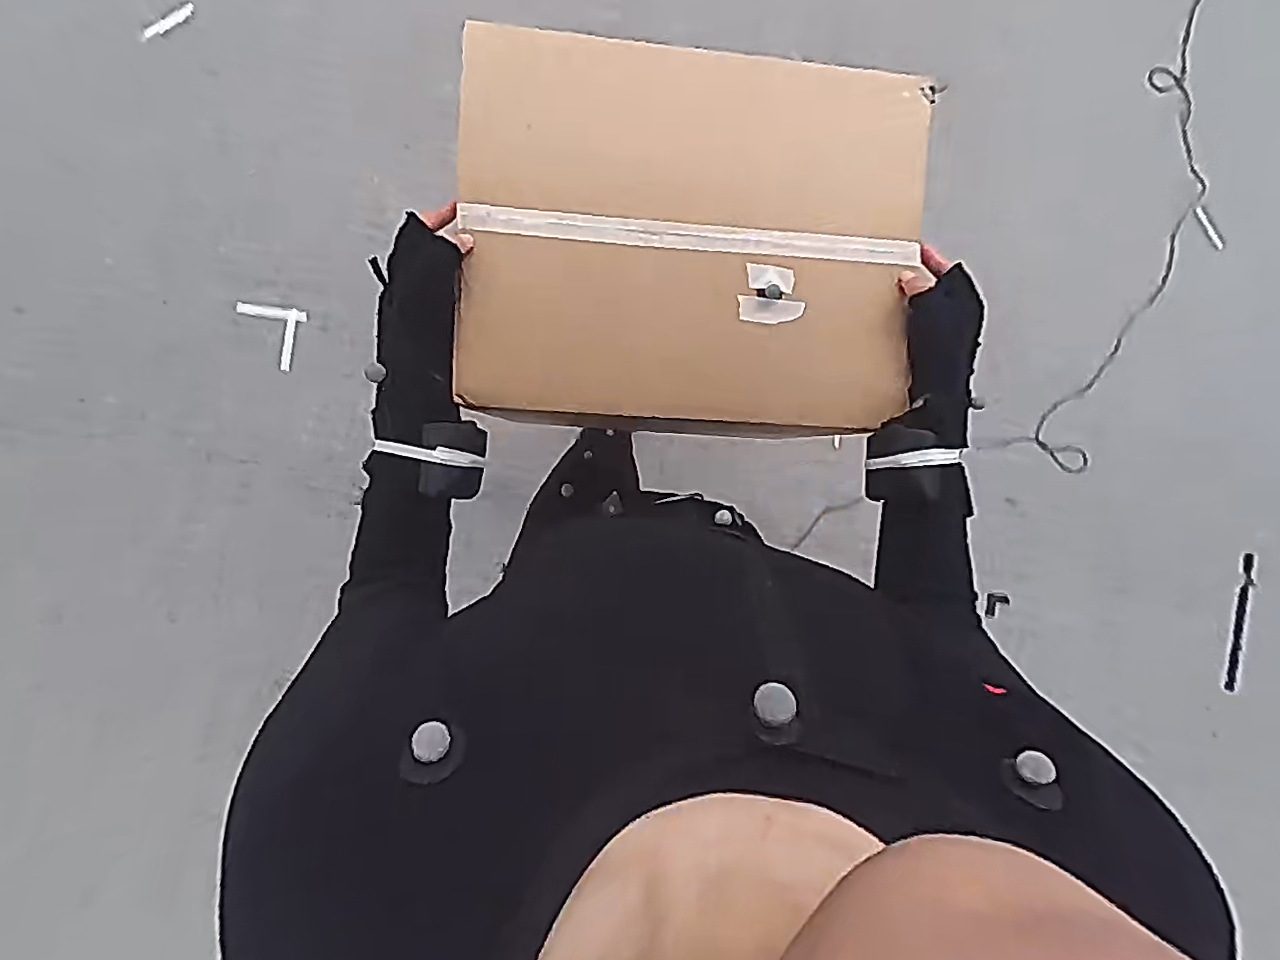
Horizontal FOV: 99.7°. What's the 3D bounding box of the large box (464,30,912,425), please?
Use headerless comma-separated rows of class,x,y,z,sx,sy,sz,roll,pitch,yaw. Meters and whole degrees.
large box,0.030,-0.231,0.631,0.408,0.320,0.320,3,94,-6
